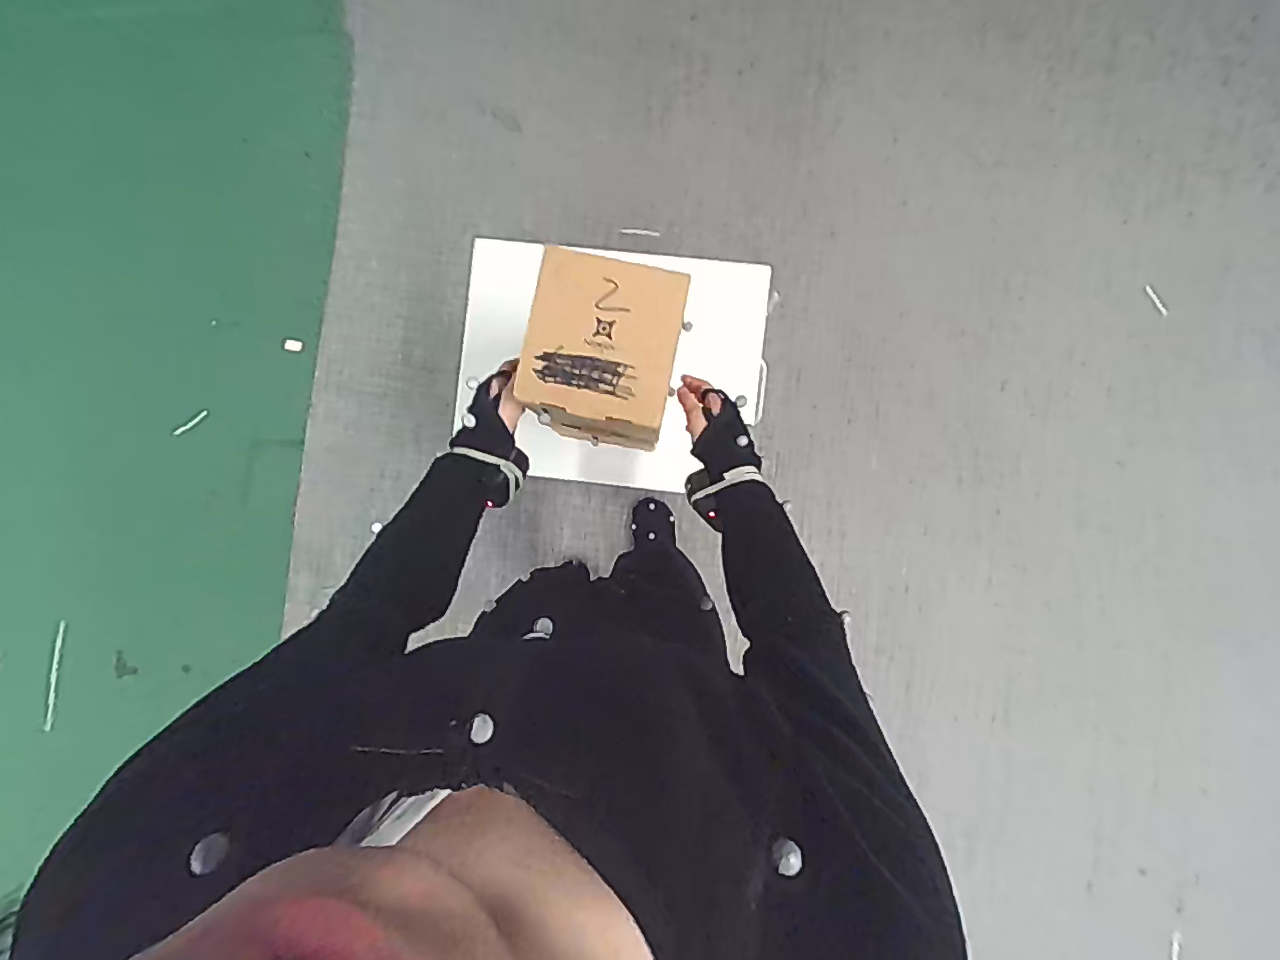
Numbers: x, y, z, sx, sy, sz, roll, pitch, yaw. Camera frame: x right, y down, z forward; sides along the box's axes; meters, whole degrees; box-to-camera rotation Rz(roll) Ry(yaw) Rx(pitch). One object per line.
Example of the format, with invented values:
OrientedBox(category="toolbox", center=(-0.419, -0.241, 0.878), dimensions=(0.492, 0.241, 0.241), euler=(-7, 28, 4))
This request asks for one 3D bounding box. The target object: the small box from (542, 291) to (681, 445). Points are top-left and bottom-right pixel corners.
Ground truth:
OrientedBox(category="small box", center=(-0.037, -0.157, 0.813), dimensions=(0.168, 0.176, 0.179), euler=(10, 89, 2))
